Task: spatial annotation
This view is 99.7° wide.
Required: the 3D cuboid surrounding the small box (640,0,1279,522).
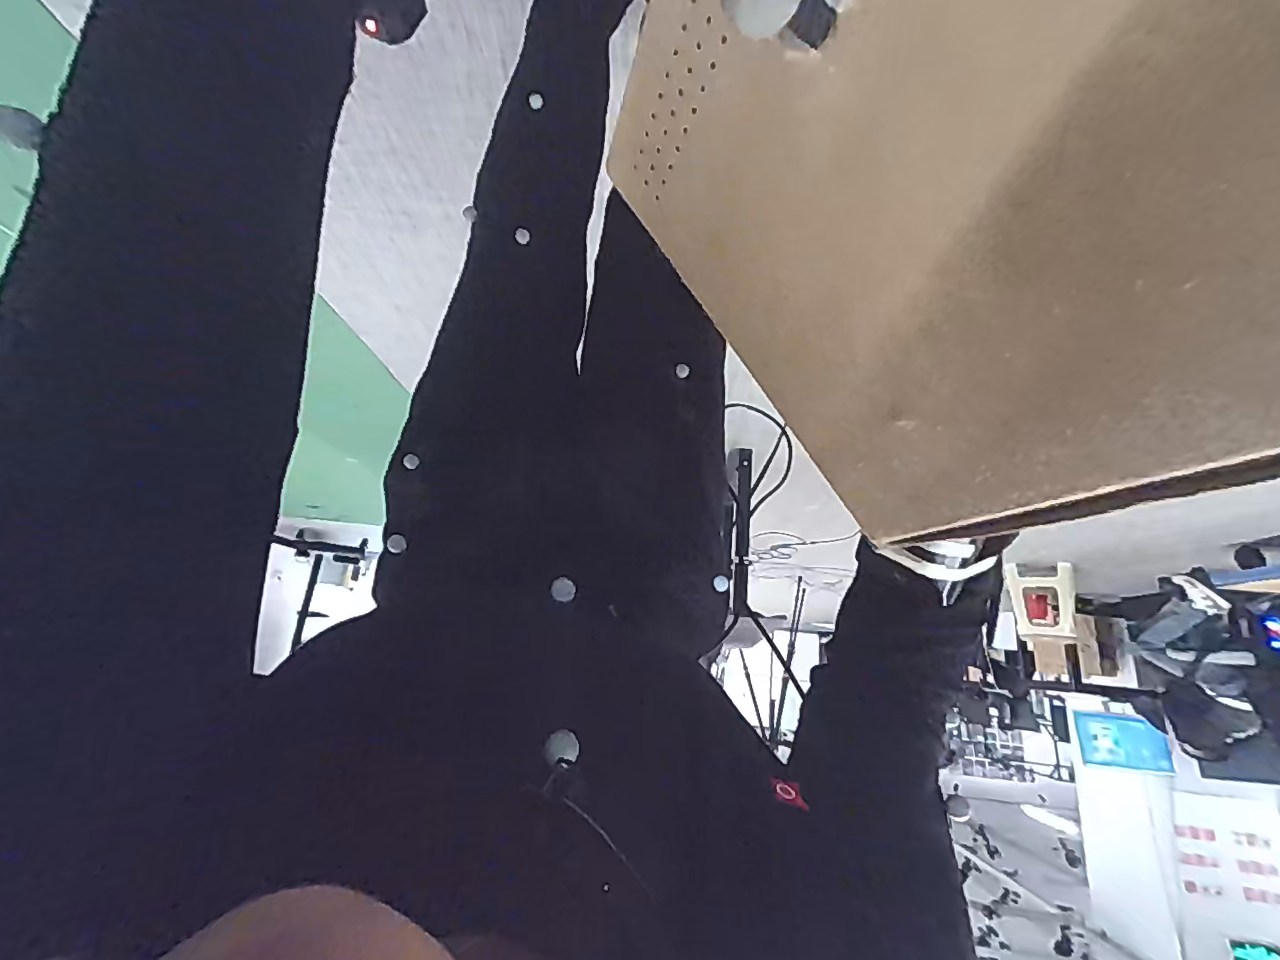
[{"bbox_3d":[0.122,-0.114,0.142,0.168,0.176,0.179,-33,176,-23],"label":"small box"}]
